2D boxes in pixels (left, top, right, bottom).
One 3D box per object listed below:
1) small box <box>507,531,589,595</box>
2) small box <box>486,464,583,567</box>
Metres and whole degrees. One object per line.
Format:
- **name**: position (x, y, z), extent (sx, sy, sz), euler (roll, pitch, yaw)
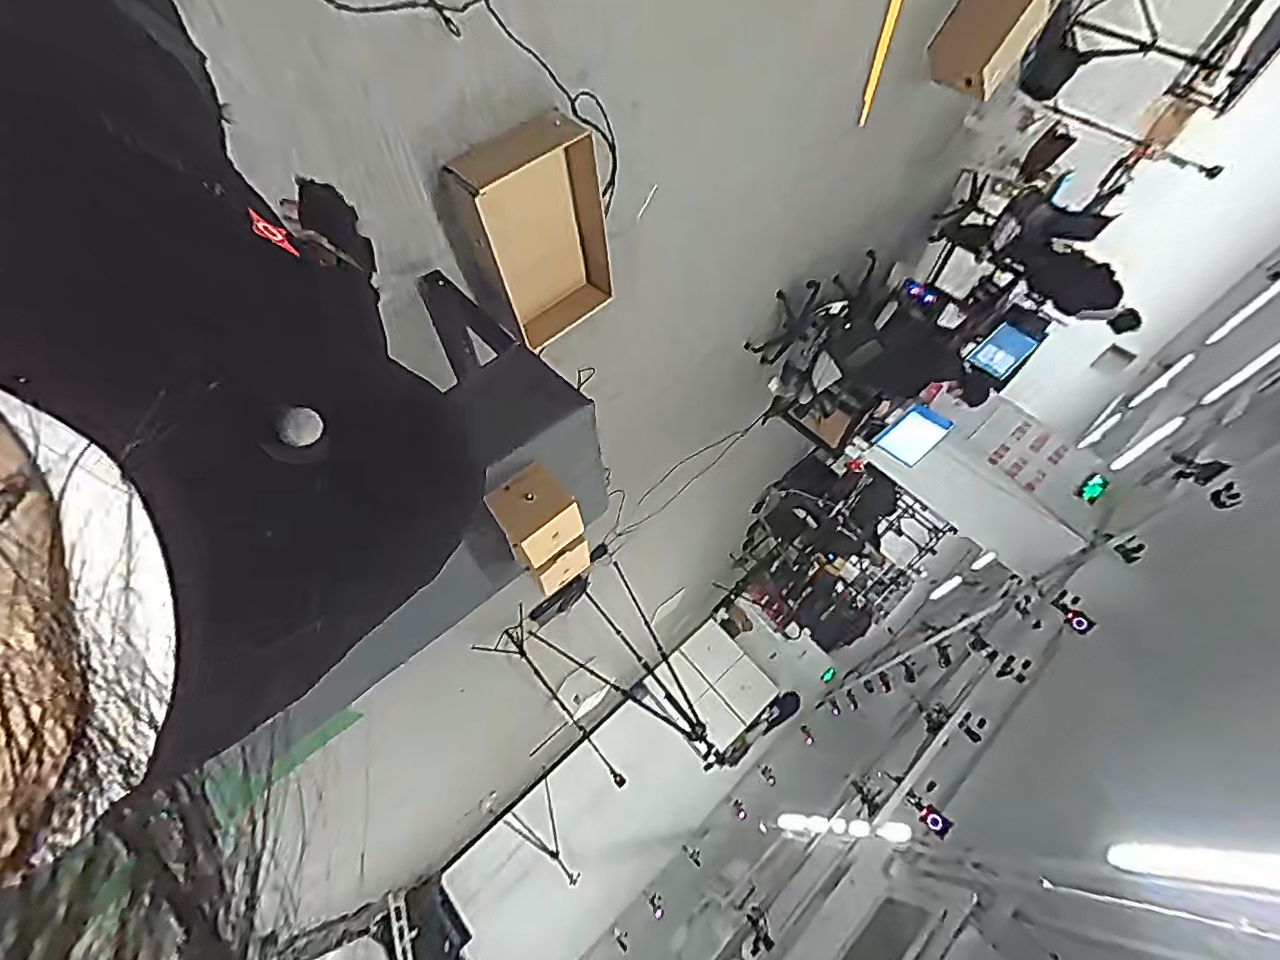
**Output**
- **small box**: position (-0.268, 0.199, 1.580), extent (0.168, 0.176, 0.179), euler (-36, 154, -22)
- **small box**: position (-0.269, 0.085, 1.382), extent (0.168, 0.176, 0.179), euler (-38, 157, -18)
